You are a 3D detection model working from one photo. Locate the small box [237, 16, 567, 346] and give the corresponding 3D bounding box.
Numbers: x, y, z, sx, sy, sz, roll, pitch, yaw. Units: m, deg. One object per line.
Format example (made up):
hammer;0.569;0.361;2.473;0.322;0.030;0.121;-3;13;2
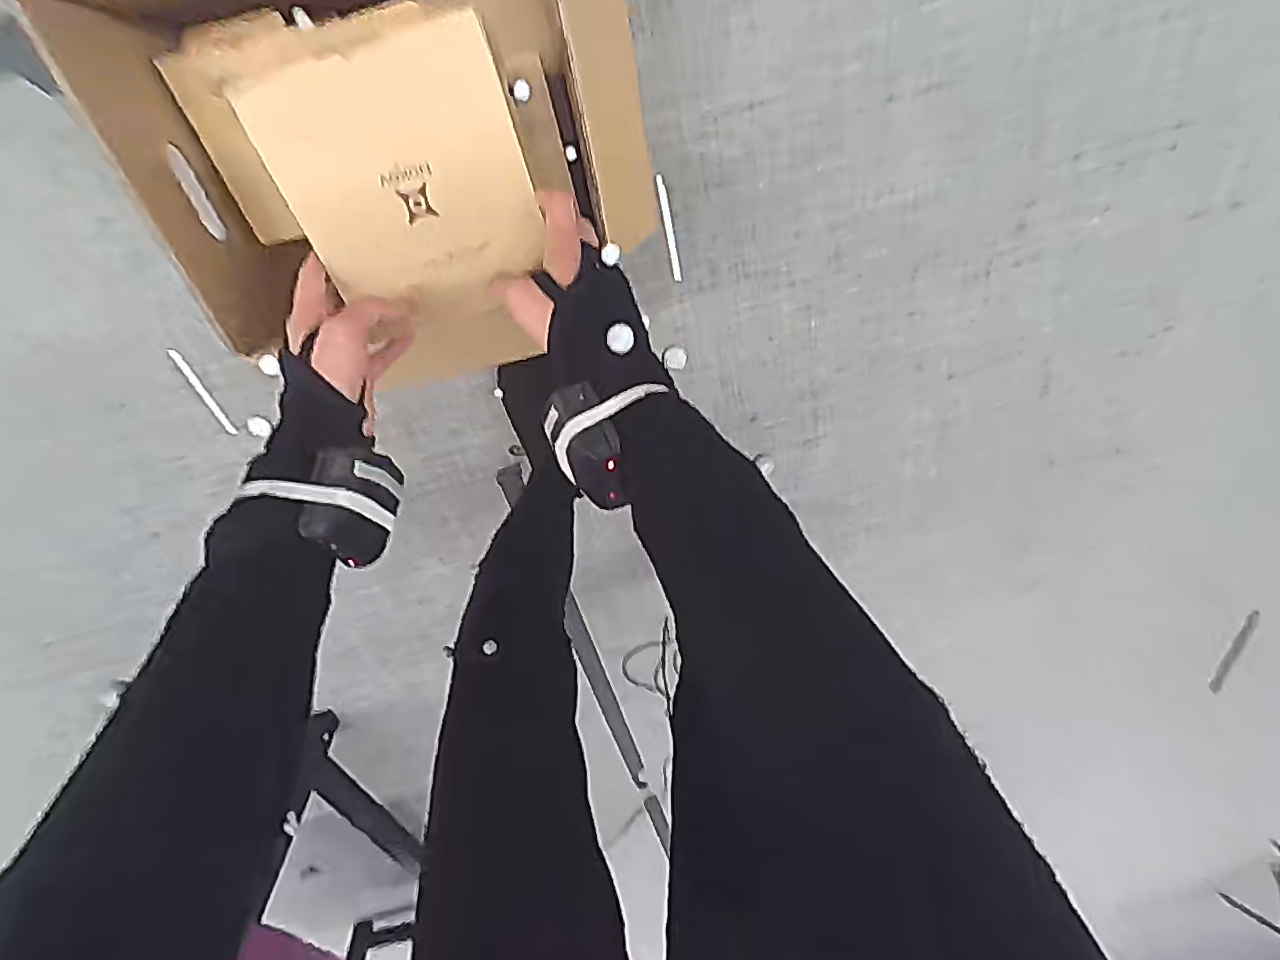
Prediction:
small box;-0.166;-0.237;0.445;0.168;0.176;0.179;-16;124;1
